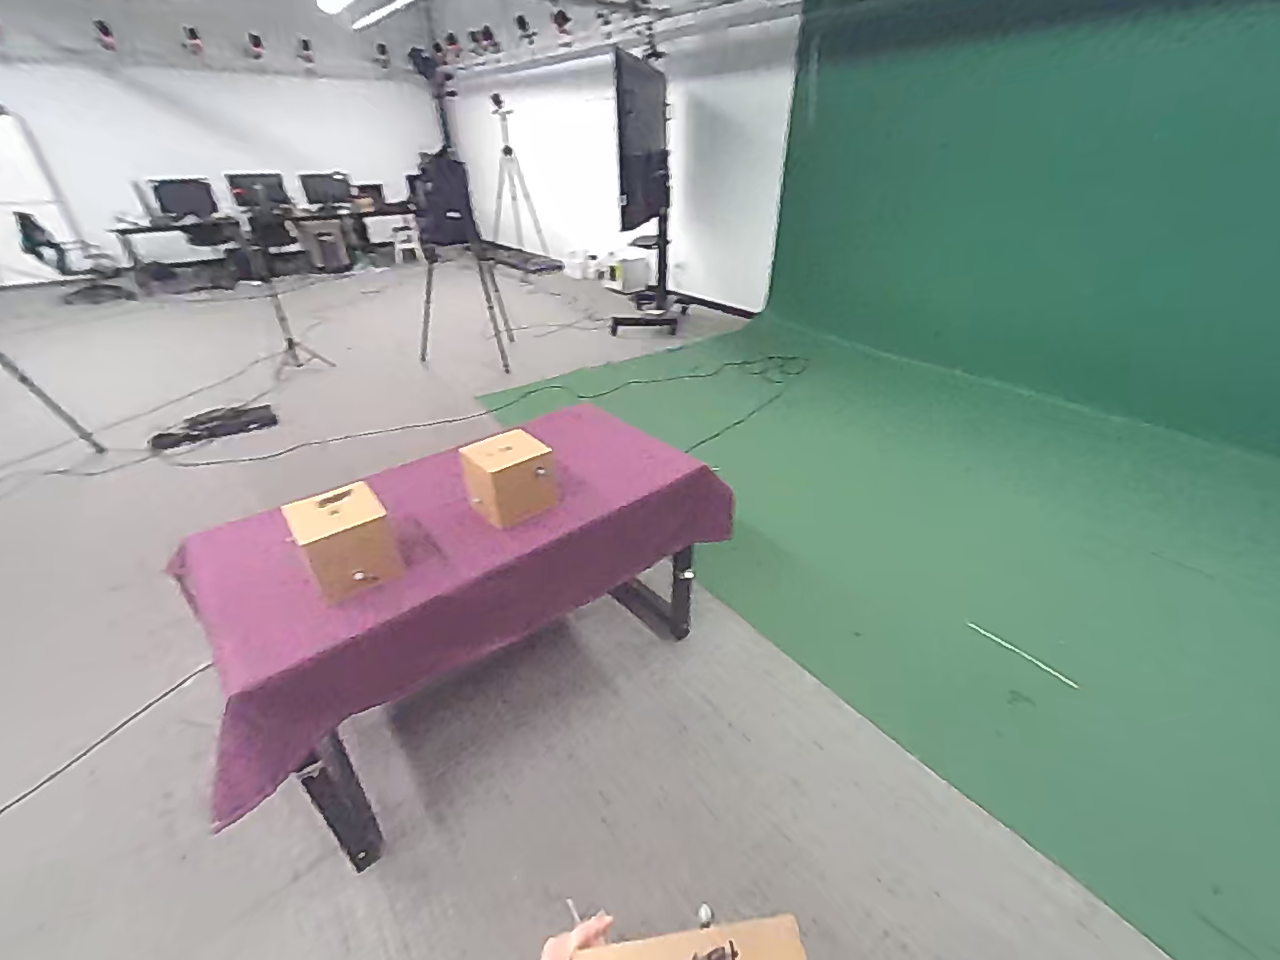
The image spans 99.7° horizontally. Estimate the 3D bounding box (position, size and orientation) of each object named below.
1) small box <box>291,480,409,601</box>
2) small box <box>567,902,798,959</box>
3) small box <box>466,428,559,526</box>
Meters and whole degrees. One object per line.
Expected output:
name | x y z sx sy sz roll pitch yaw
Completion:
small box | -0.629 0.130 1.180 0.168 0.176 0.179 -24 40 -32
small box | 0.047 0.436 0.404 0.168 0.176 0.179 -10 51 1
small box | -0.323 -0.009 1.394 0.179 0.176 0.168 -25 39 -33
